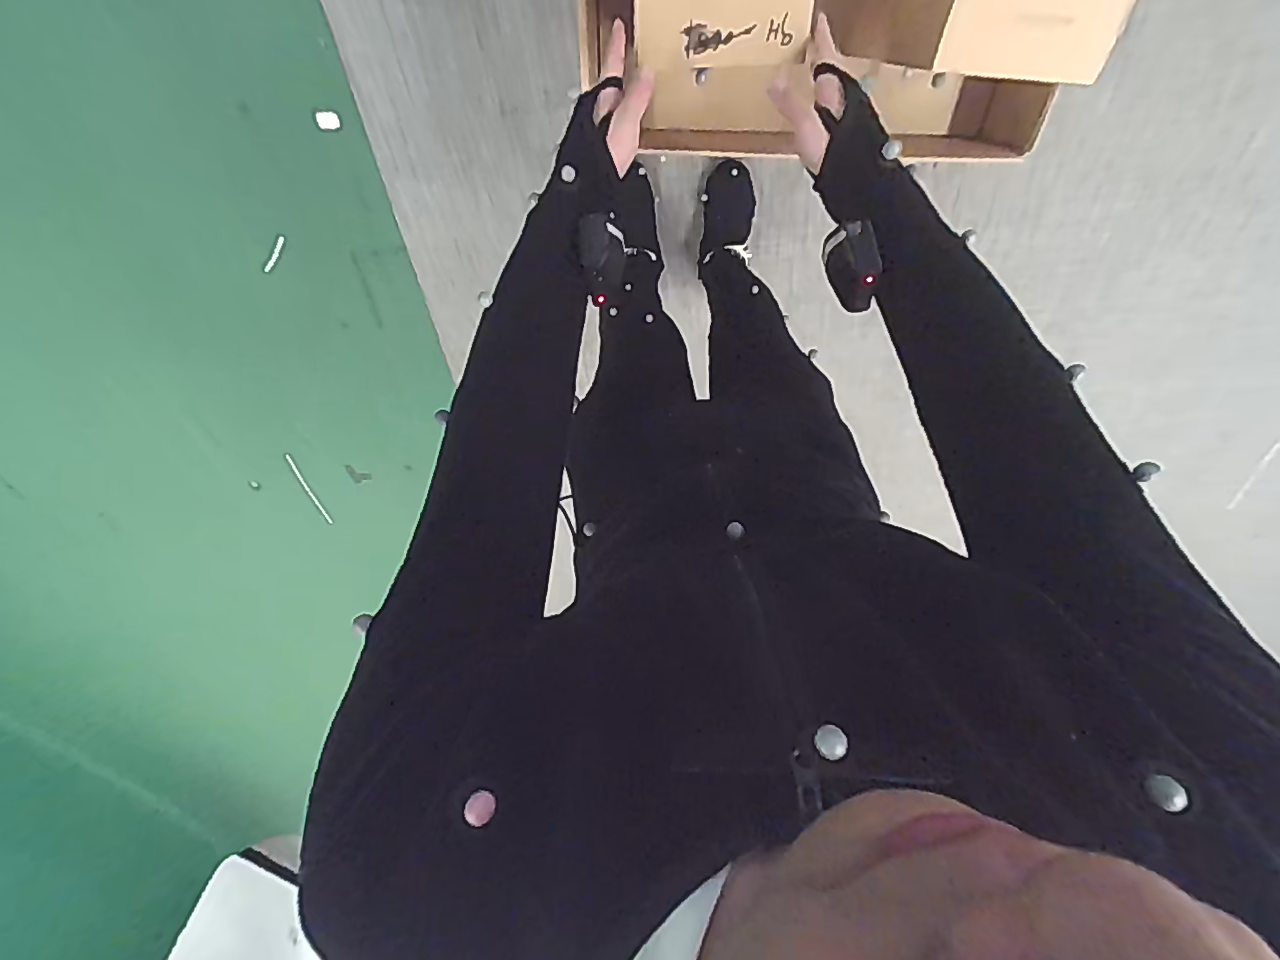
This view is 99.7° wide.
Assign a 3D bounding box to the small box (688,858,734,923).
[{"bbox_3d":[0.276,1.590,2.094,0.168,0.176,0.179,-5,128,6],"label":"small box"}]

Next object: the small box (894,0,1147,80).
[{"bbox_3d":[0.377,-0.508,0.526,0.168,0.176,0.179,4,130,-1],"label":"small box"}]

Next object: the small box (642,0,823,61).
[{"bbox_3d":[0.084,-0.519,0.523,0.168,0.176,0.179,-1,130,2],"label":"small box"}]
